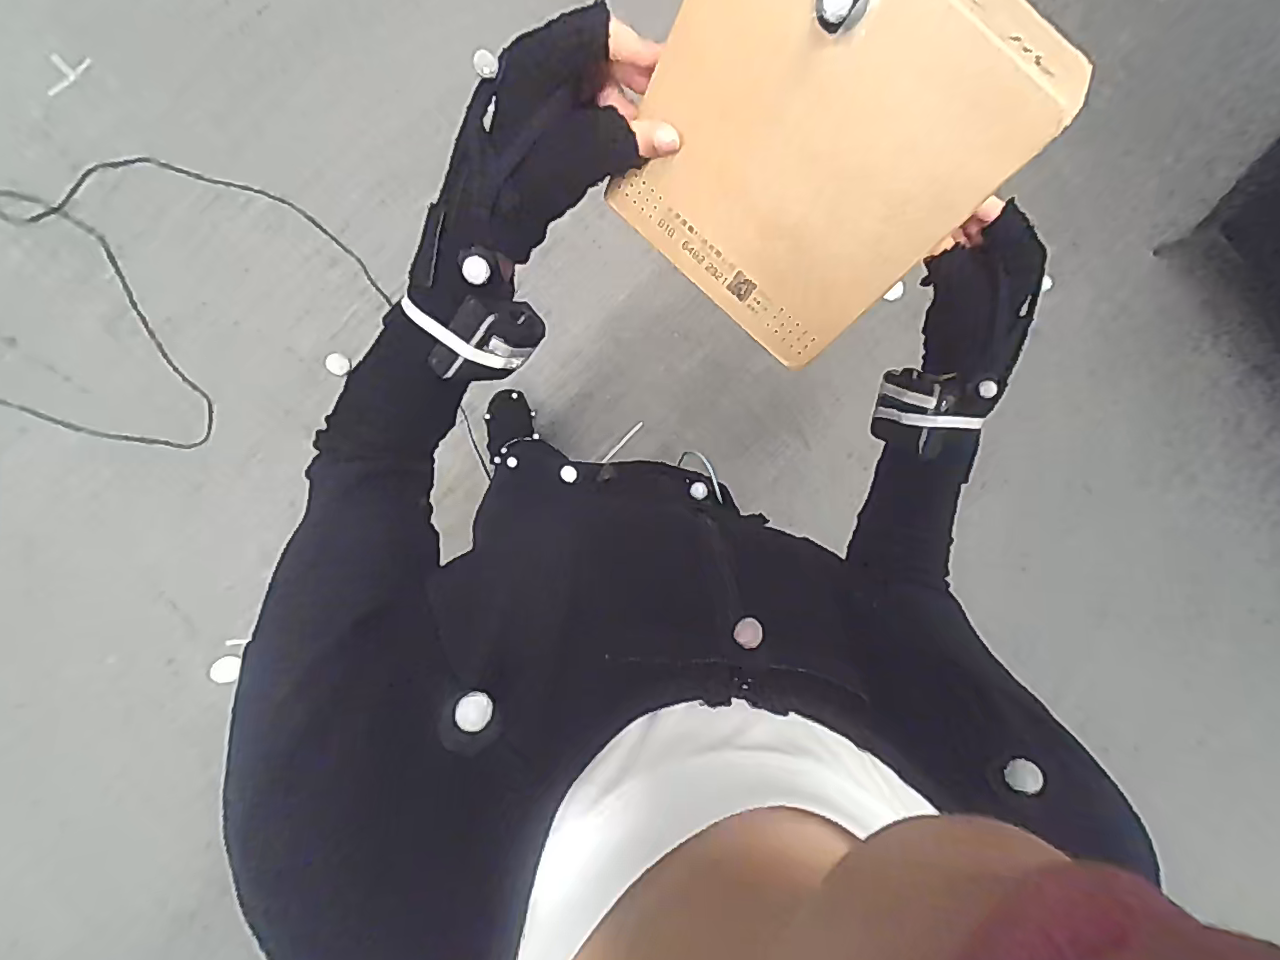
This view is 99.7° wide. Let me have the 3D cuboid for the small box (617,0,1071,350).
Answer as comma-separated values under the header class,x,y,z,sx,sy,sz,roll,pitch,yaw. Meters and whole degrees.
class,x,y,z,sx,sy,sz,roll,pitch,yaw
small box,0.113,-0.215,0.327,0.168,0.176,0.179,42,52,0
